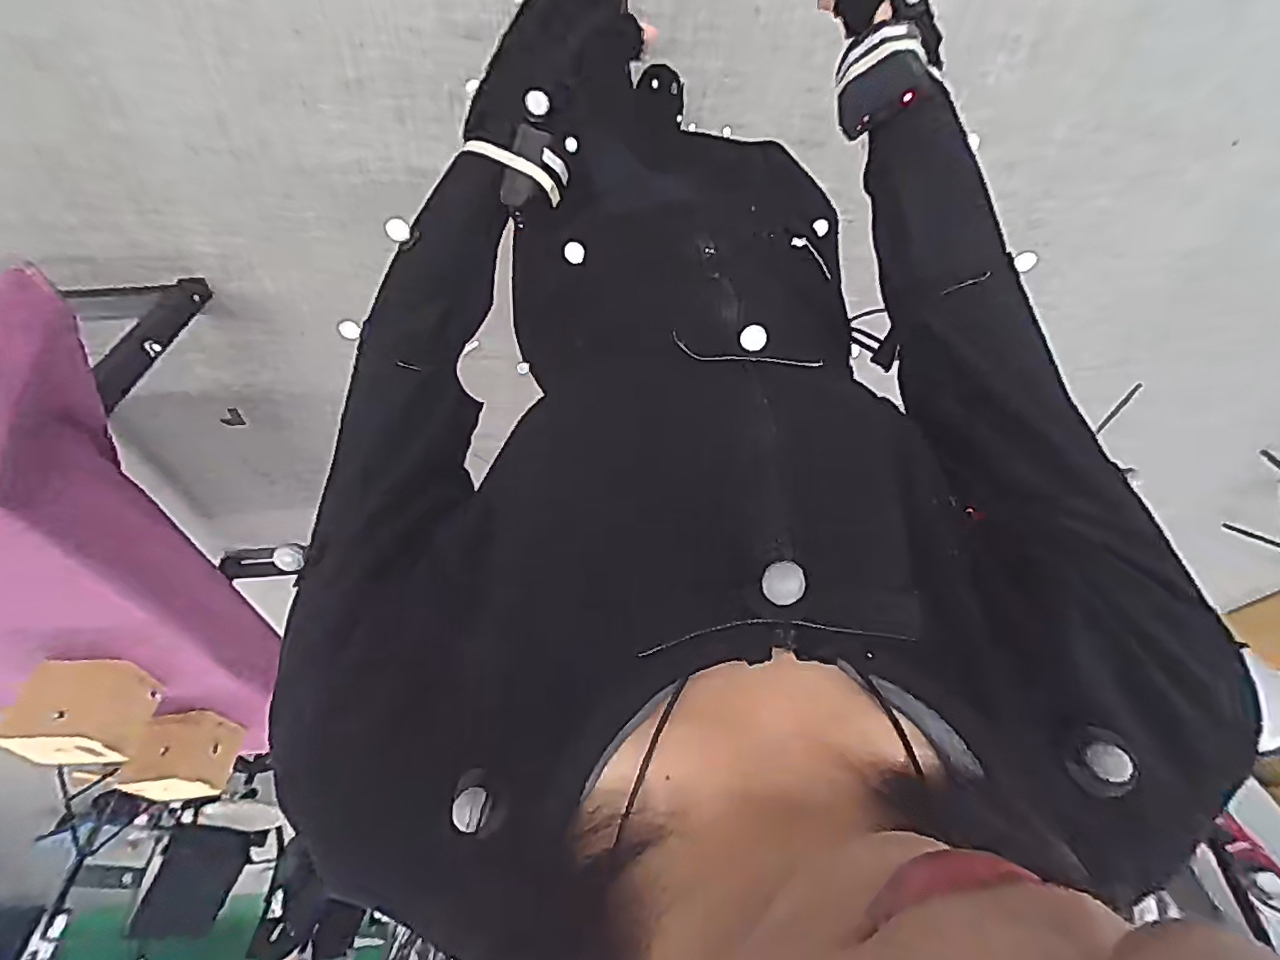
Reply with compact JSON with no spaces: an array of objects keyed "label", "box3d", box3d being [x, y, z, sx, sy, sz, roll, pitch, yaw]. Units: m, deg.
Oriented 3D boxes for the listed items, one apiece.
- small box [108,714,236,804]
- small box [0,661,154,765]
[{"label":"small box","box3d":[-1.221,0.737,1.436,0.179,0.176,0.168,-9,137,2]},{"label":"small box","box3d":[-1.234,0.513,1.194,0.179,0.176,0.168,3,136,-9]}]
